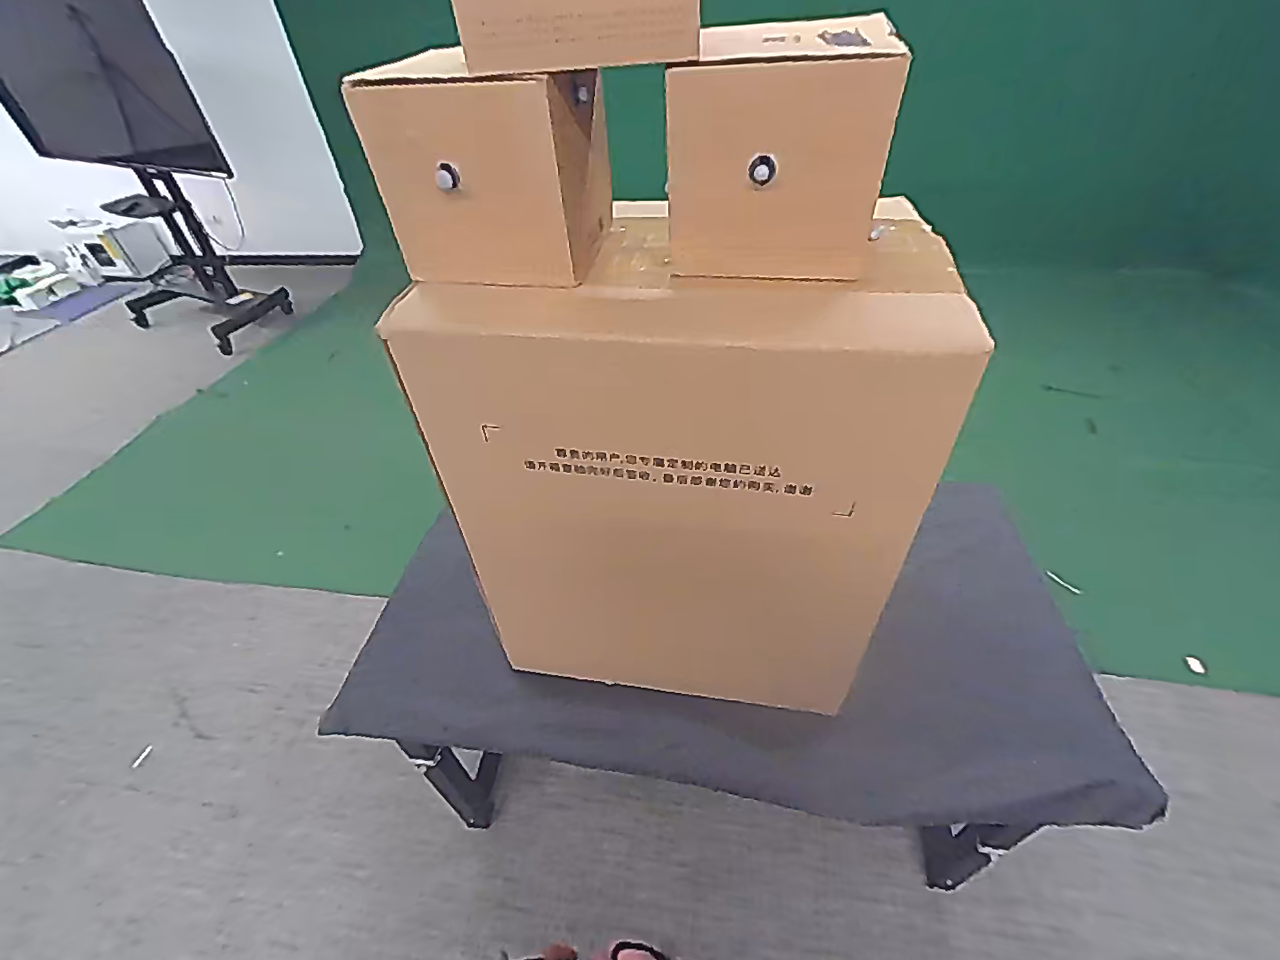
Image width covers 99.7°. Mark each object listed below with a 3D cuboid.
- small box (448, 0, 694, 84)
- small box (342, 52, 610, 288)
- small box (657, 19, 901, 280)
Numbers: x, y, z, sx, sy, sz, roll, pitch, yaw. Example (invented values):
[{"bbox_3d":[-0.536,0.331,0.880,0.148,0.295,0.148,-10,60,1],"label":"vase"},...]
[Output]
[{"bbox_3d":[-0.049,-0.414,0.402,0.179,0.176,0.168,-3,44,4],"label":"small box"},{"bbox_3d":[-0.137,-0.303,0.530,0.179,0.176,0.168,6,47,10],"label":"small box"},{"bbox_3d":[0.120,-0.300,0.501,0.179,0.176,0.168,5,47,12],"label":"small box"}]
